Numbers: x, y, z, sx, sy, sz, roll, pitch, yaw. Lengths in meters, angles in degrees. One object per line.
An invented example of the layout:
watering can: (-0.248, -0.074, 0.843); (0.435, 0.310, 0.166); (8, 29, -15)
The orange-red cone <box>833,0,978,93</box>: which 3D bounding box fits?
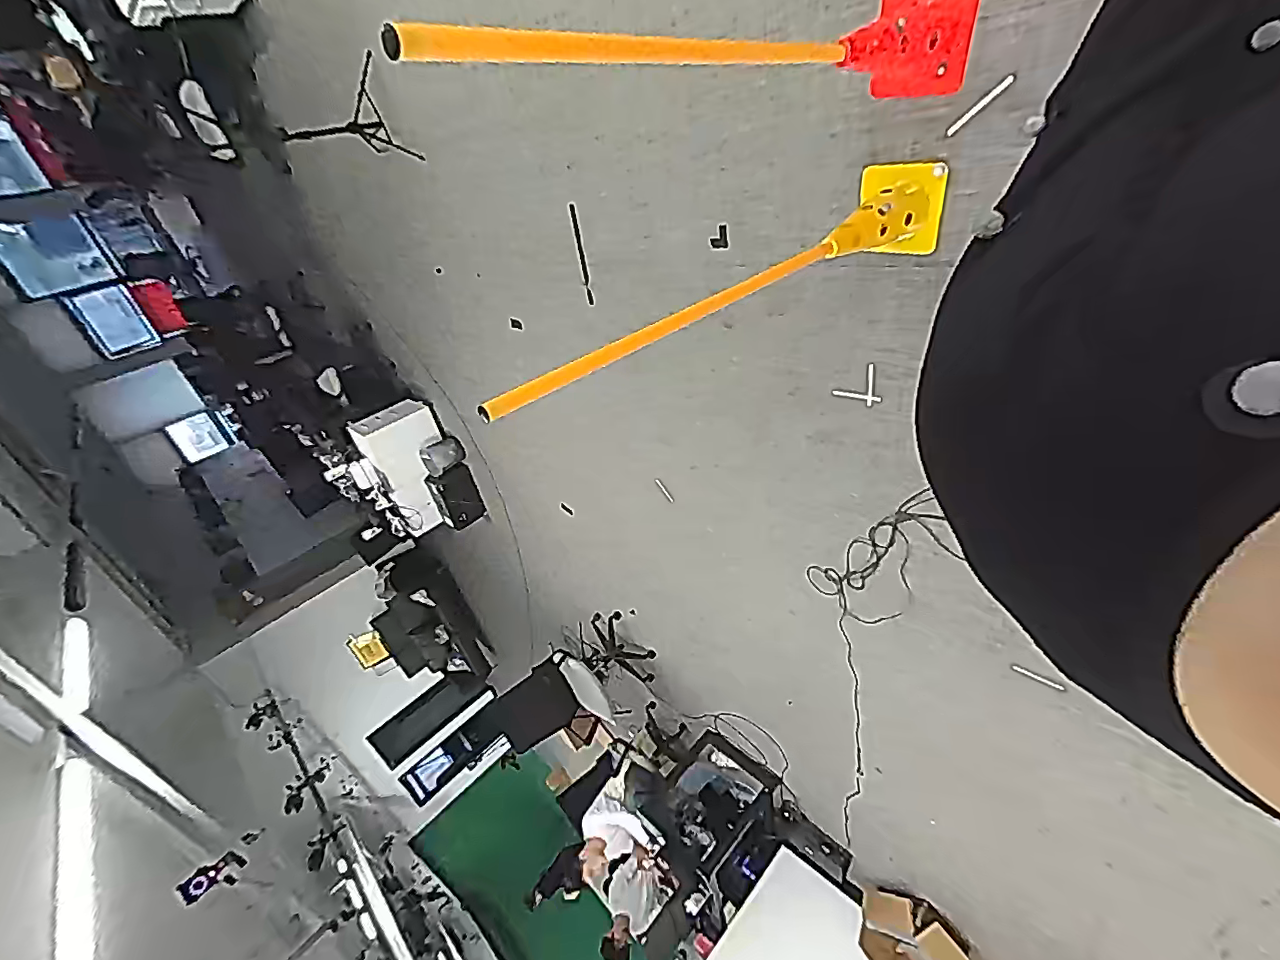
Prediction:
orange-red cone: (0.473, -0.850, 1.042); (0.198, 0.360, 0.199); (28, 138, 35)
